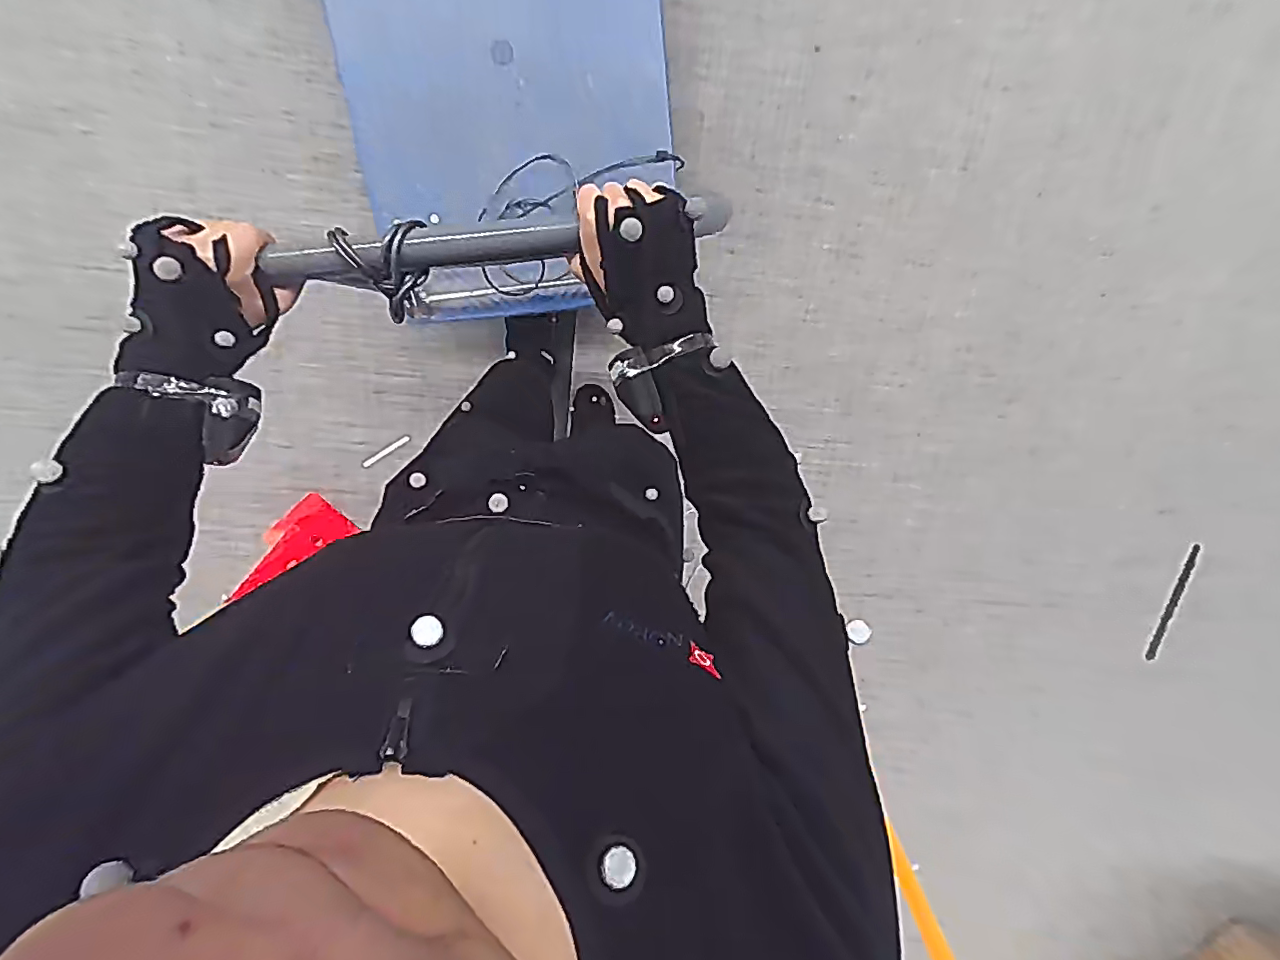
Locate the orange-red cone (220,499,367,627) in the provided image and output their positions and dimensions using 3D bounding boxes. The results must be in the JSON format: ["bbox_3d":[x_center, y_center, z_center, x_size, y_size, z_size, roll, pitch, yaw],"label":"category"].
[{"bbox_3d":[-0.815,0.217,1.220,0.199,0.360,0.198,-38,107,7],"label":"orange-red cone"}]
